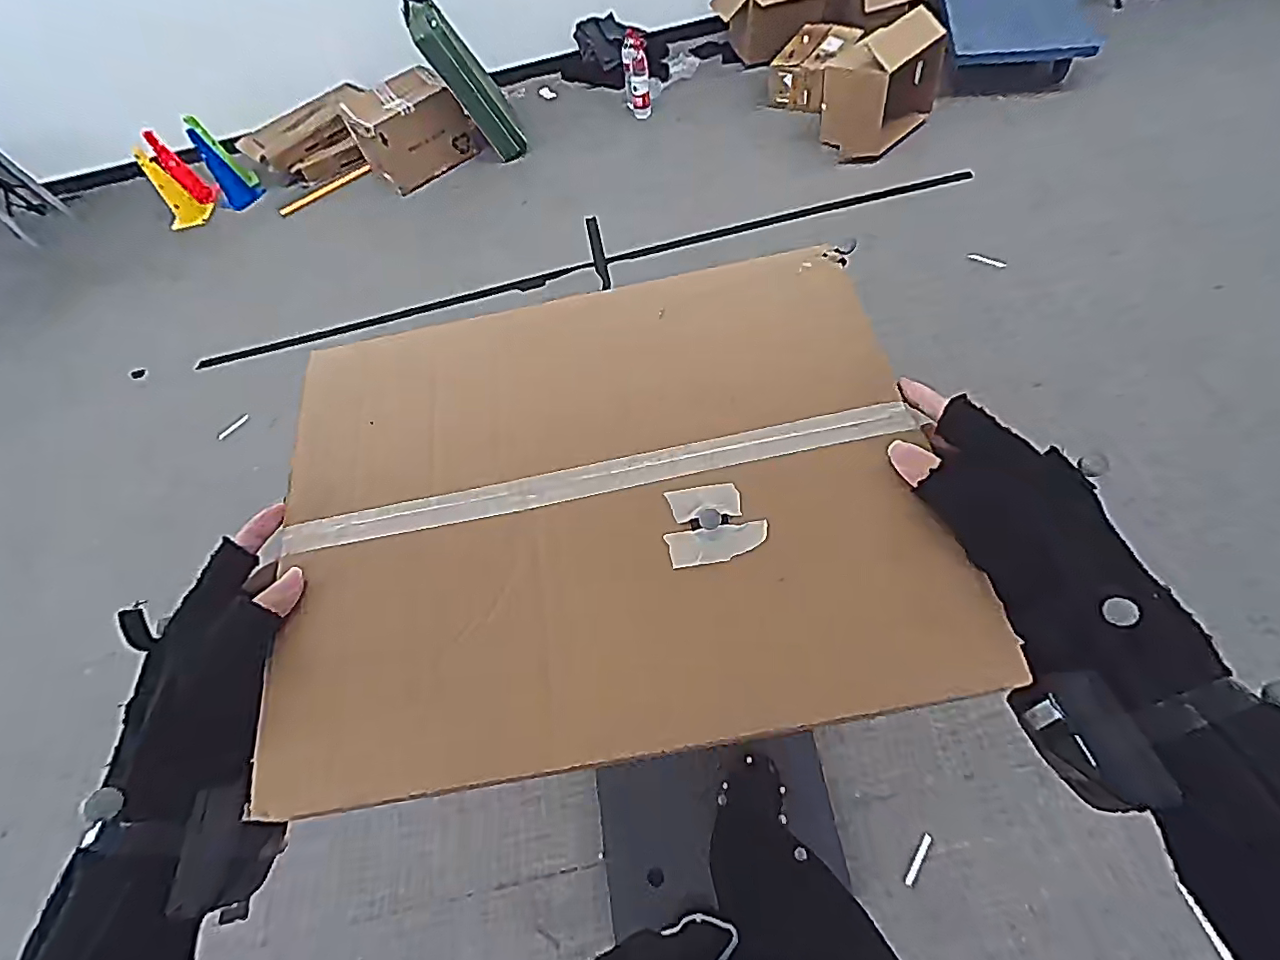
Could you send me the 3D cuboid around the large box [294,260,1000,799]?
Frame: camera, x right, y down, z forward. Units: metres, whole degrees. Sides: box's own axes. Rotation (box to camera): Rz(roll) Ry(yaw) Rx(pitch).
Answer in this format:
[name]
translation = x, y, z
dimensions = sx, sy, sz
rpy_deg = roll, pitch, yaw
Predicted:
[large box]
translation = -0.009, 0.065, 0.491
dimensions = 0.408, 0.320, 0.320
rpy_deg = -11, 65, 1
